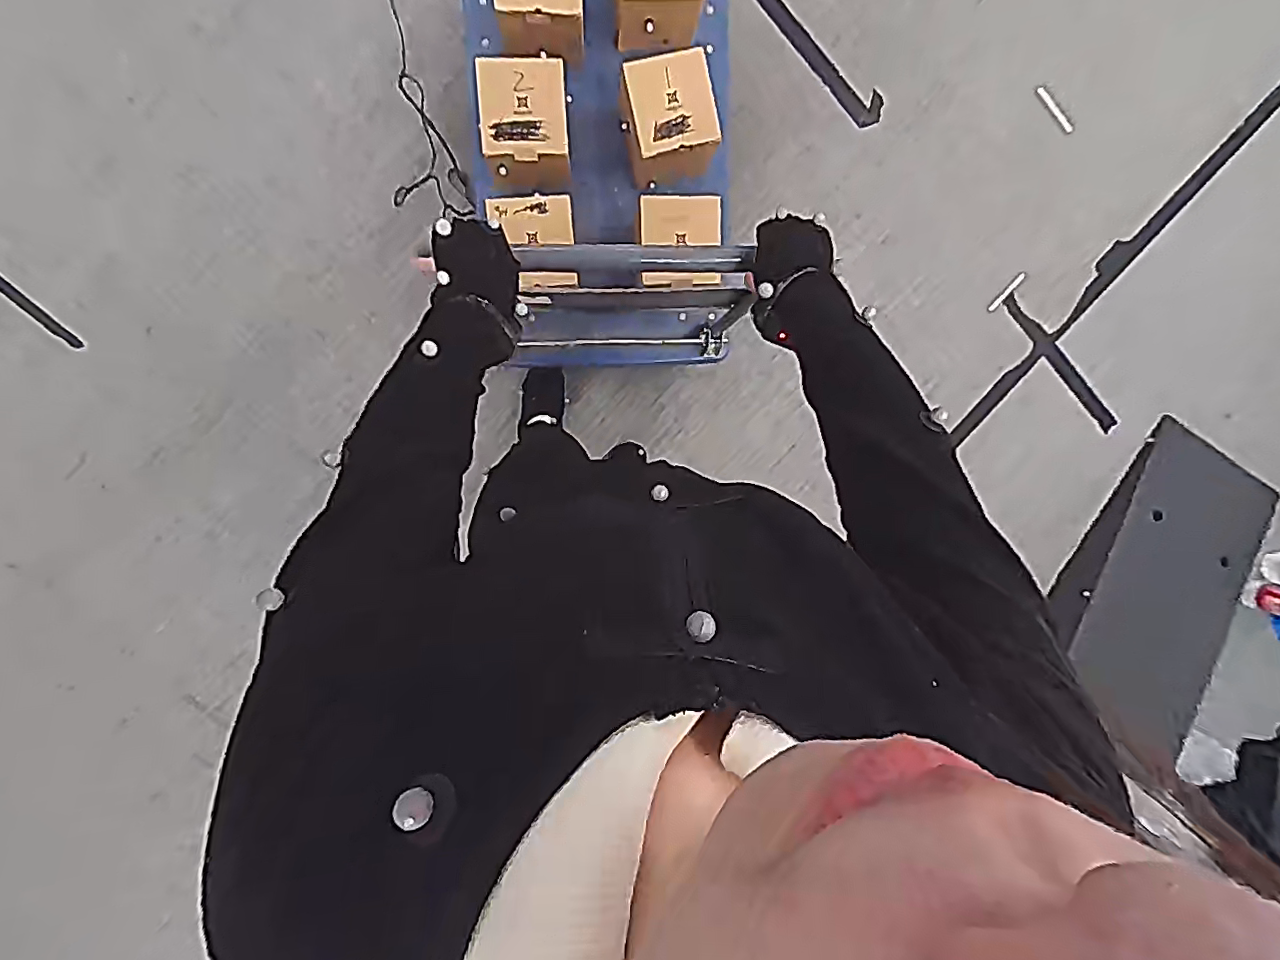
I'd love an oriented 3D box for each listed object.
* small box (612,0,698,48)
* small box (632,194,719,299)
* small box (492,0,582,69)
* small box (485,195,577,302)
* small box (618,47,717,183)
[{"bbox_3d":[0.028,-1.022,1.102,0.168,0.176,0.179,-5,98,-4],"label":"small box"},{"bbox_3d":[0.073,-0.498,1.178,0.168,0.176,0.179,-2,97,-6],"label":"small box"},{"bbox_3d":[-0.202,-0.976,1.085,0.168,0.176,0.179,0,98,-5],"label":"small box"},{"bbox_3d":[-0.224,-0.482,1.149,0.168,0.176,0.179,-6,99,-6],"label":"small box"},{"bbox_3d":[0.052,-0.753,1.140,0.168,0.176,0.179,-14,98,-3],"label":"small box"}]
